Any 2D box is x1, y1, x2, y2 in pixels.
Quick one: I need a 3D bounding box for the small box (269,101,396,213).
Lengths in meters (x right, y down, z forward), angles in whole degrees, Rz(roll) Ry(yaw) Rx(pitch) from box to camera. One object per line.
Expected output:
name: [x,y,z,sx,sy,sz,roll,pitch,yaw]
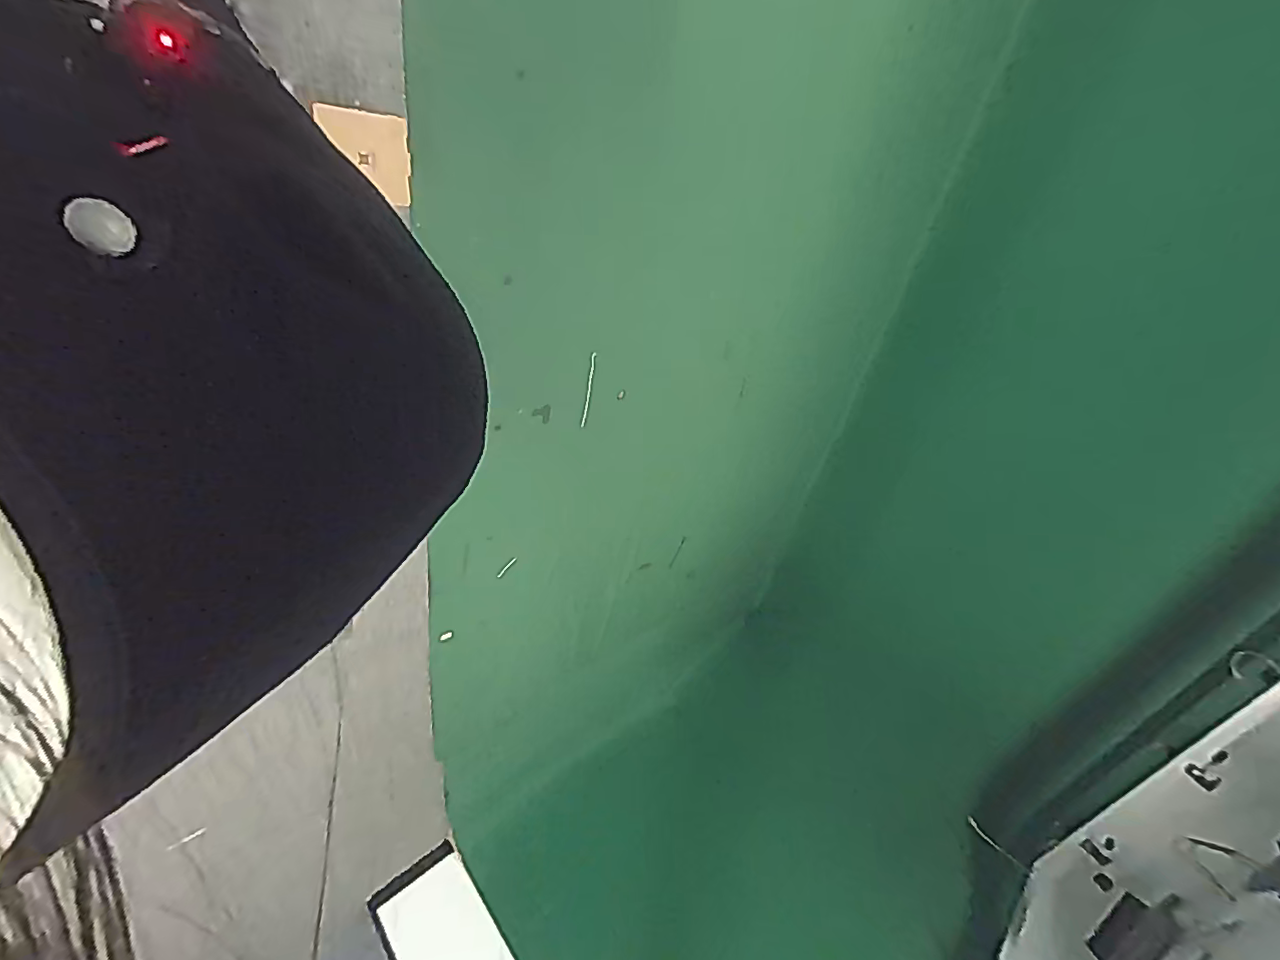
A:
small box: [-0.626,-0.662,1.110,0.179,0.176,0.168,-19,133,-40]
